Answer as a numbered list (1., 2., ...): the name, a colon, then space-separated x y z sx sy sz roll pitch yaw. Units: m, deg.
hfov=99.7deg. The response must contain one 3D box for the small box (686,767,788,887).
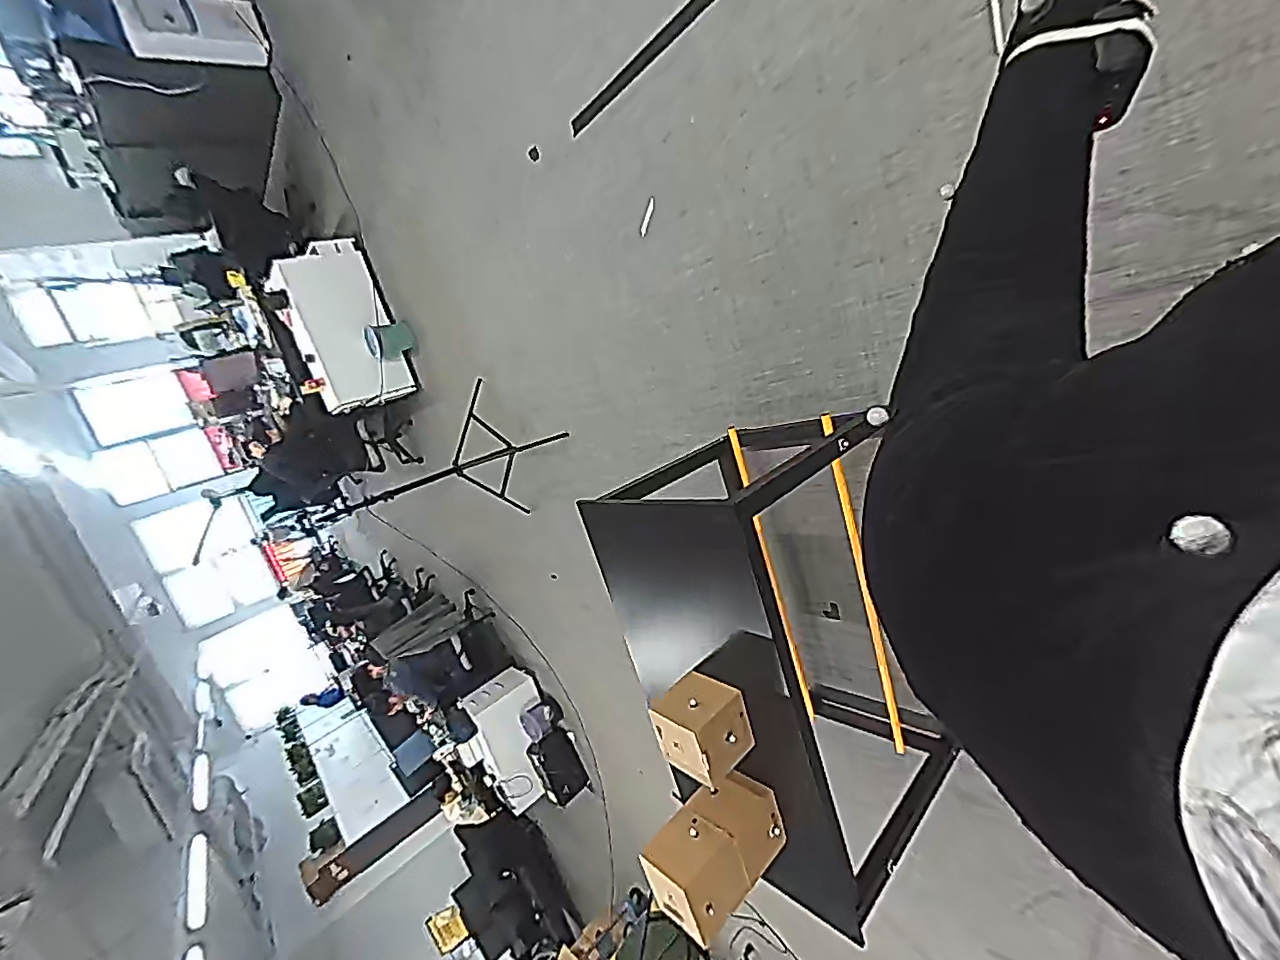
1. small box: 0.253 0.889 1.409 0.179 0.176 0.168 -2 110 51

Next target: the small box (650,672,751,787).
1. small box: 0.158 0.611 1.352 0.179 0.176 0.168 1 113 51

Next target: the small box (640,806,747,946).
1. small box: 0.135 0.949 1.312 0.168 0.176 0.179 -3 109 52
